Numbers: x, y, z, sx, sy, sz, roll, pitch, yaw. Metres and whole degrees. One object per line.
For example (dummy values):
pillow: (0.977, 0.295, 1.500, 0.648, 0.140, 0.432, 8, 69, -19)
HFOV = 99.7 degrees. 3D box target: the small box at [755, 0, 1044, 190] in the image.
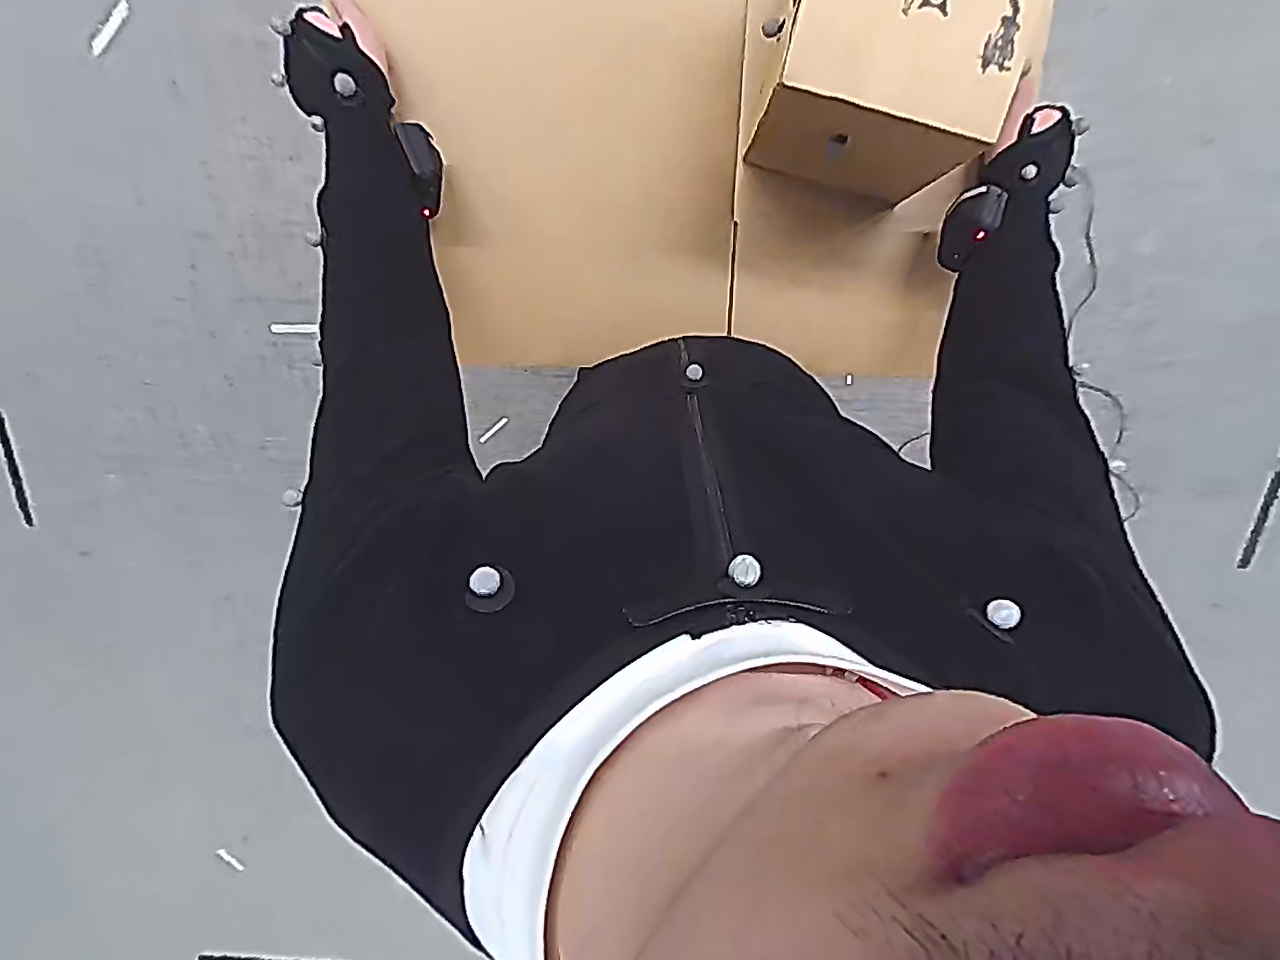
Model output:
small box: (0.213, -0.379, 0.474, 0.179, 0.176, 0.168, 14, 103, -1)
